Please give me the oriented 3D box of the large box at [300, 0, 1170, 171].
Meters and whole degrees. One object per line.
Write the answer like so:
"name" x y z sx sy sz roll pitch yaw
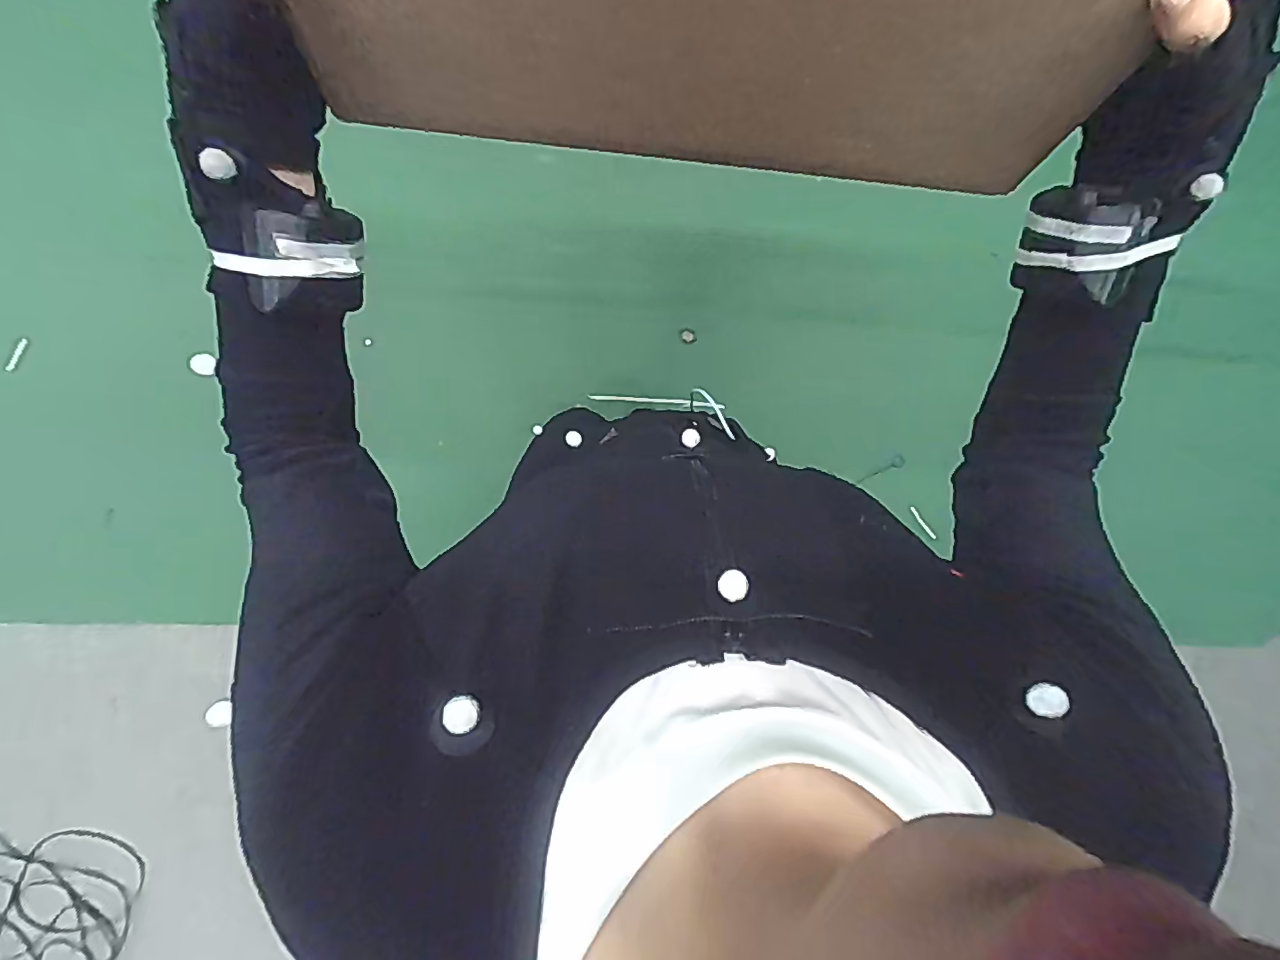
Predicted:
"large box" 0.051 -0.379 0.211 0.408 0.320 0.320 4 77 -6
